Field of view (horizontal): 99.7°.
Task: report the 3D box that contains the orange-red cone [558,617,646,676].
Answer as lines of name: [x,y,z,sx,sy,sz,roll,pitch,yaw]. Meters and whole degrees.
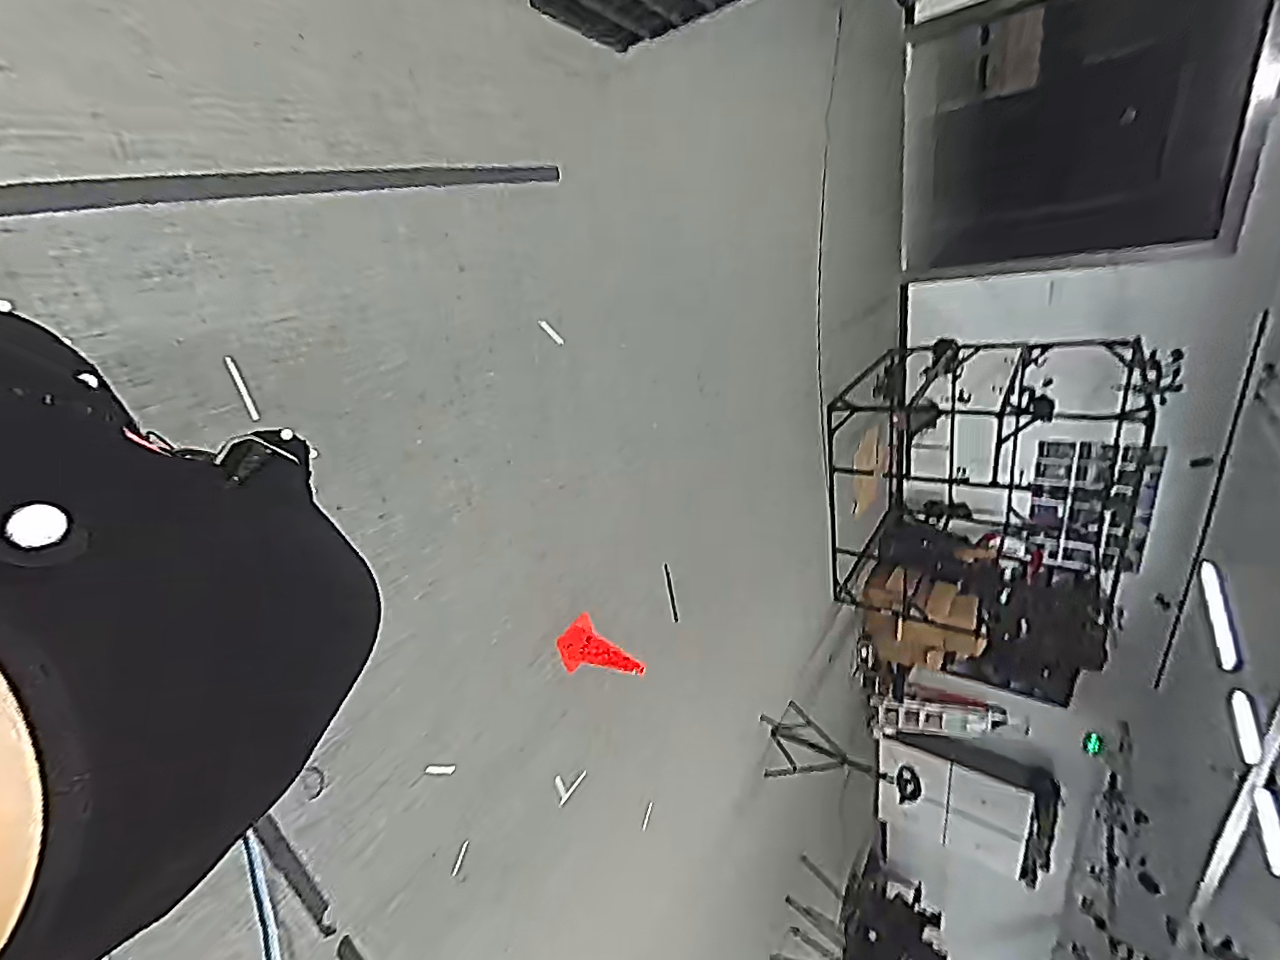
orange-red cone: [-0.130,0.726,2.207,0.198,0.360,0.199,-41,126,-42]
